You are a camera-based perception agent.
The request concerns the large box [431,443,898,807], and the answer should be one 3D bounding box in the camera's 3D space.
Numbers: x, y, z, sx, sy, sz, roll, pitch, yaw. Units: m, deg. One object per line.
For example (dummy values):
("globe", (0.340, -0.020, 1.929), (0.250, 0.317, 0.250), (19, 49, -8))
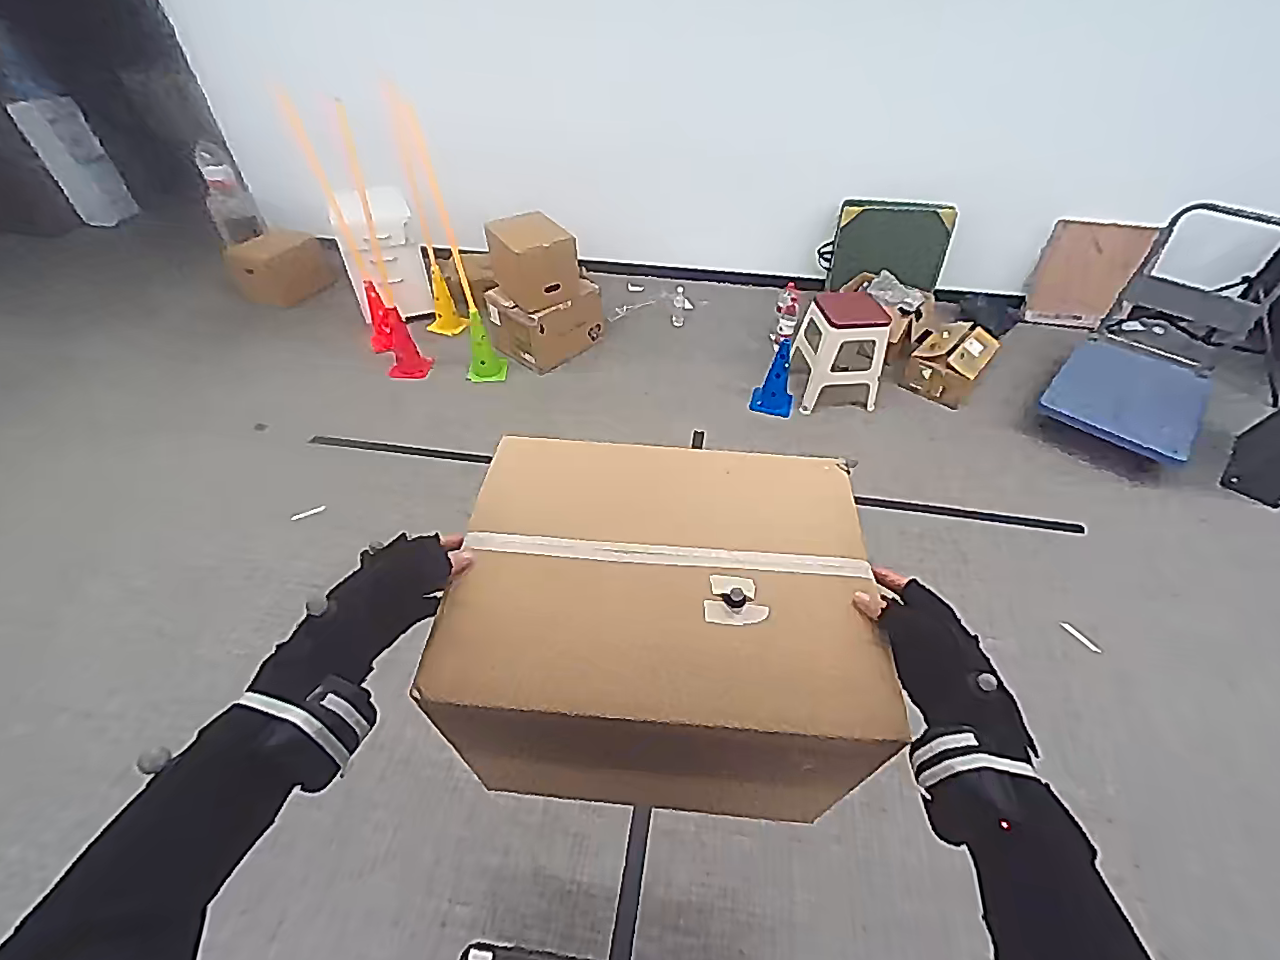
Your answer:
("large box", (0.023, 0.180, 0.660), (0.408, 0.320, 0.320), (4, 49, 2))
